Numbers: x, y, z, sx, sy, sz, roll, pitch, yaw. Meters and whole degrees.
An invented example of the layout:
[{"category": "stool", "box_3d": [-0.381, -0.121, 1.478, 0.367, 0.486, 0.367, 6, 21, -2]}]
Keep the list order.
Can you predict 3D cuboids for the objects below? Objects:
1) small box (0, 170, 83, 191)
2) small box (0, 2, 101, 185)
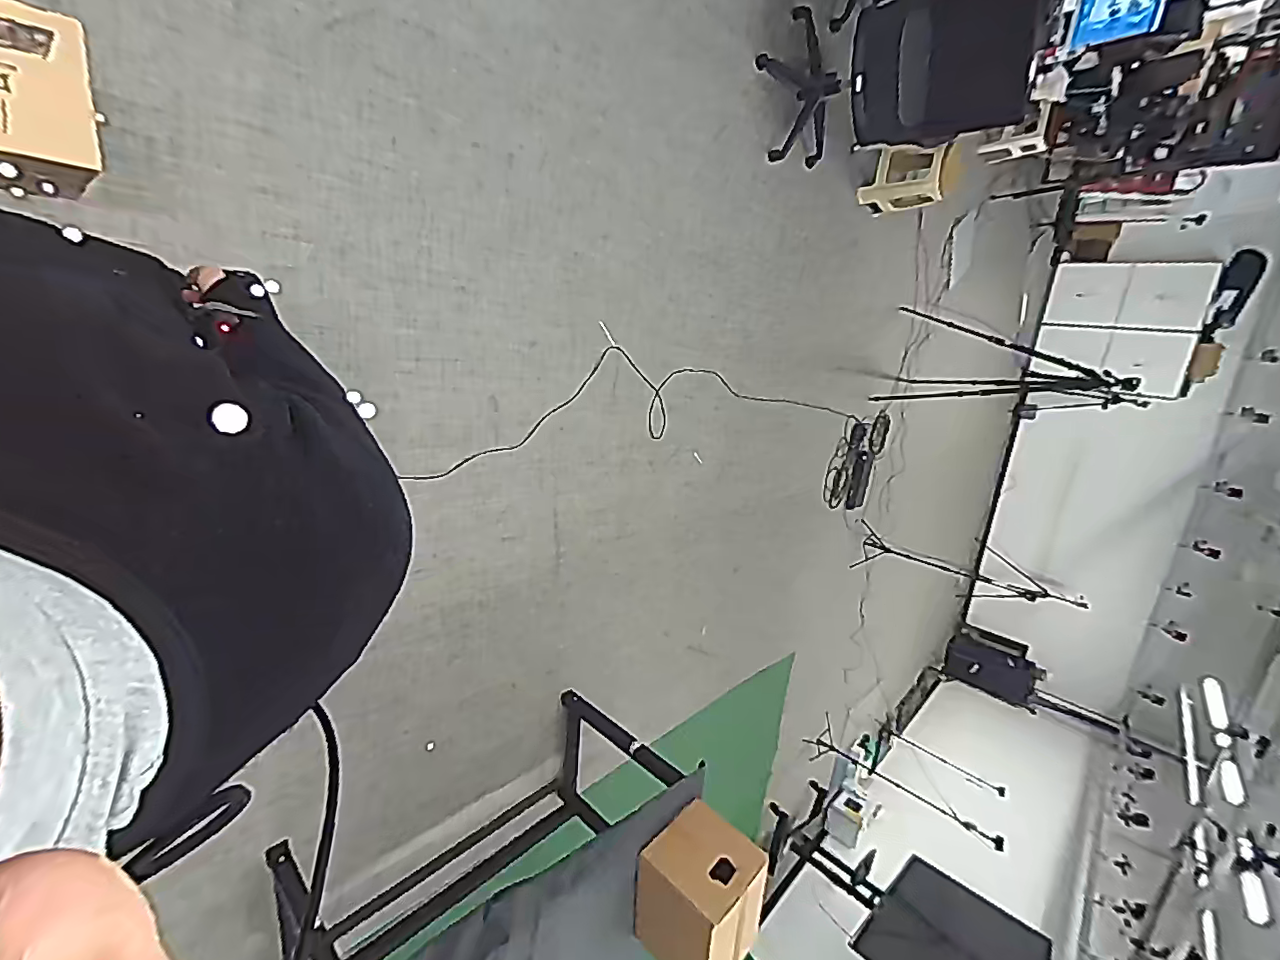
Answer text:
[{"category": "small box", "box_3d": [-0.953, -0.543, 0.798, 0.168, 0.176, 0.179, -12, 114, -47]}, {"category": "small box", "box_3d": [-0.830, -0.500, 0.697, 0.168, 0.176, 0.179, -11, 115, -46]}]
